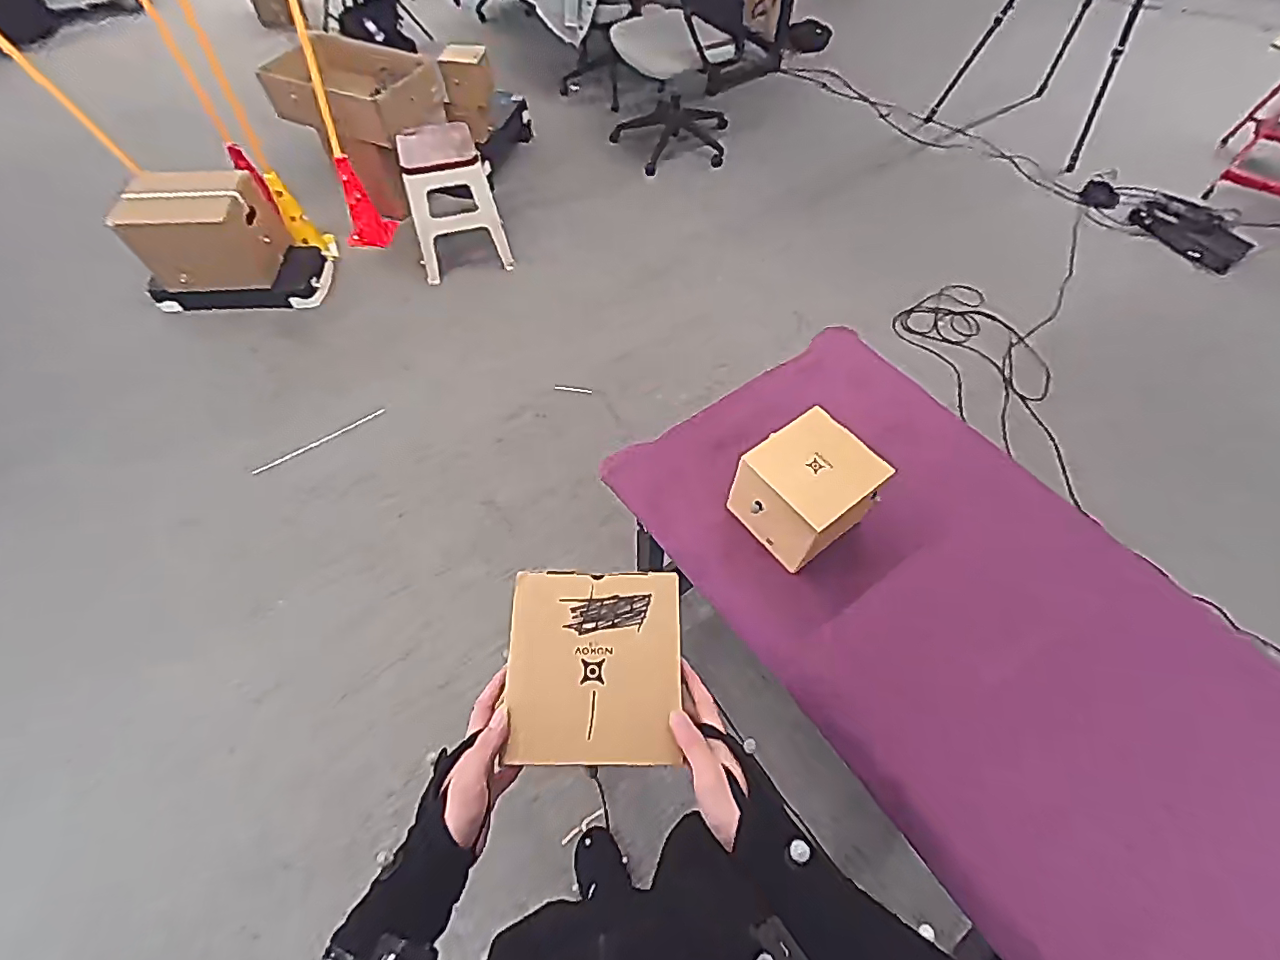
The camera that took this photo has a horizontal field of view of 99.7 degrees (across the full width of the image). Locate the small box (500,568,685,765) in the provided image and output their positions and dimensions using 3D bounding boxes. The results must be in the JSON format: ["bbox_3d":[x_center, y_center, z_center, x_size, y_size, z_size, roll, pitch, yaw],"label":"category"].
[{"bbox_3d":[-0.042,0.203,0.581,0.168,0.176,0.179,1,65,0],"label":"small box"}]

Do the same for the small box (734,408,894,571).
[{"bbox_3d":[0.273,0.021,0.897,0.179,0.176,0.168,-33,64,-19],"label":"small box"}]
